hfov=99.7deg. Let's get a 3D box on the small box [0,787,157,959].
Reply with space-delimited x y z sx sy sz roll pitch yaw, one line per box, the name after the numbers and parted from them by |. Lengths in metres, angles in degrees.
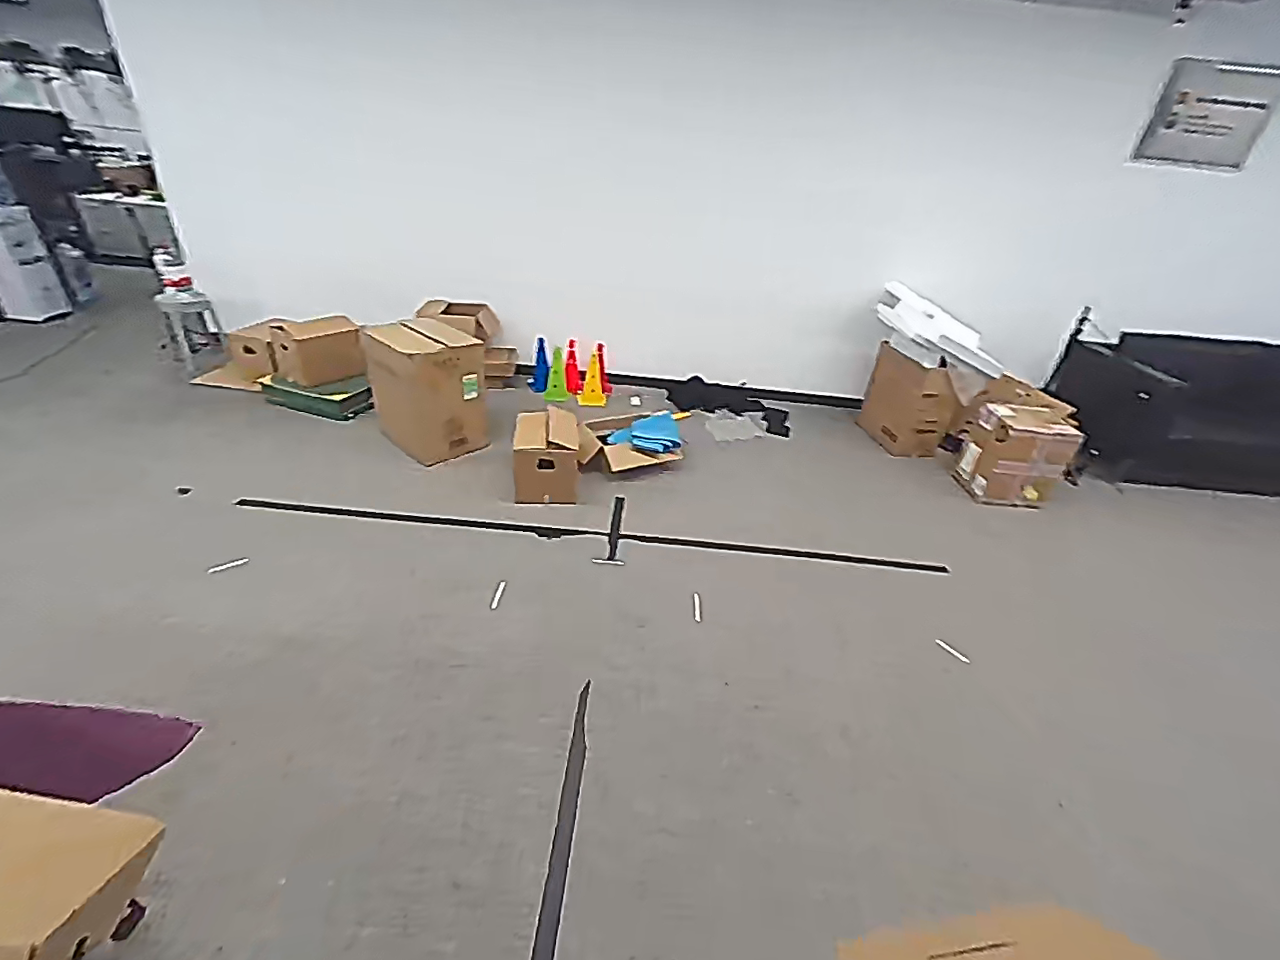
-0.354 0.229 0.215 0.168 0.179 0.176 25 64 -19 | small box
